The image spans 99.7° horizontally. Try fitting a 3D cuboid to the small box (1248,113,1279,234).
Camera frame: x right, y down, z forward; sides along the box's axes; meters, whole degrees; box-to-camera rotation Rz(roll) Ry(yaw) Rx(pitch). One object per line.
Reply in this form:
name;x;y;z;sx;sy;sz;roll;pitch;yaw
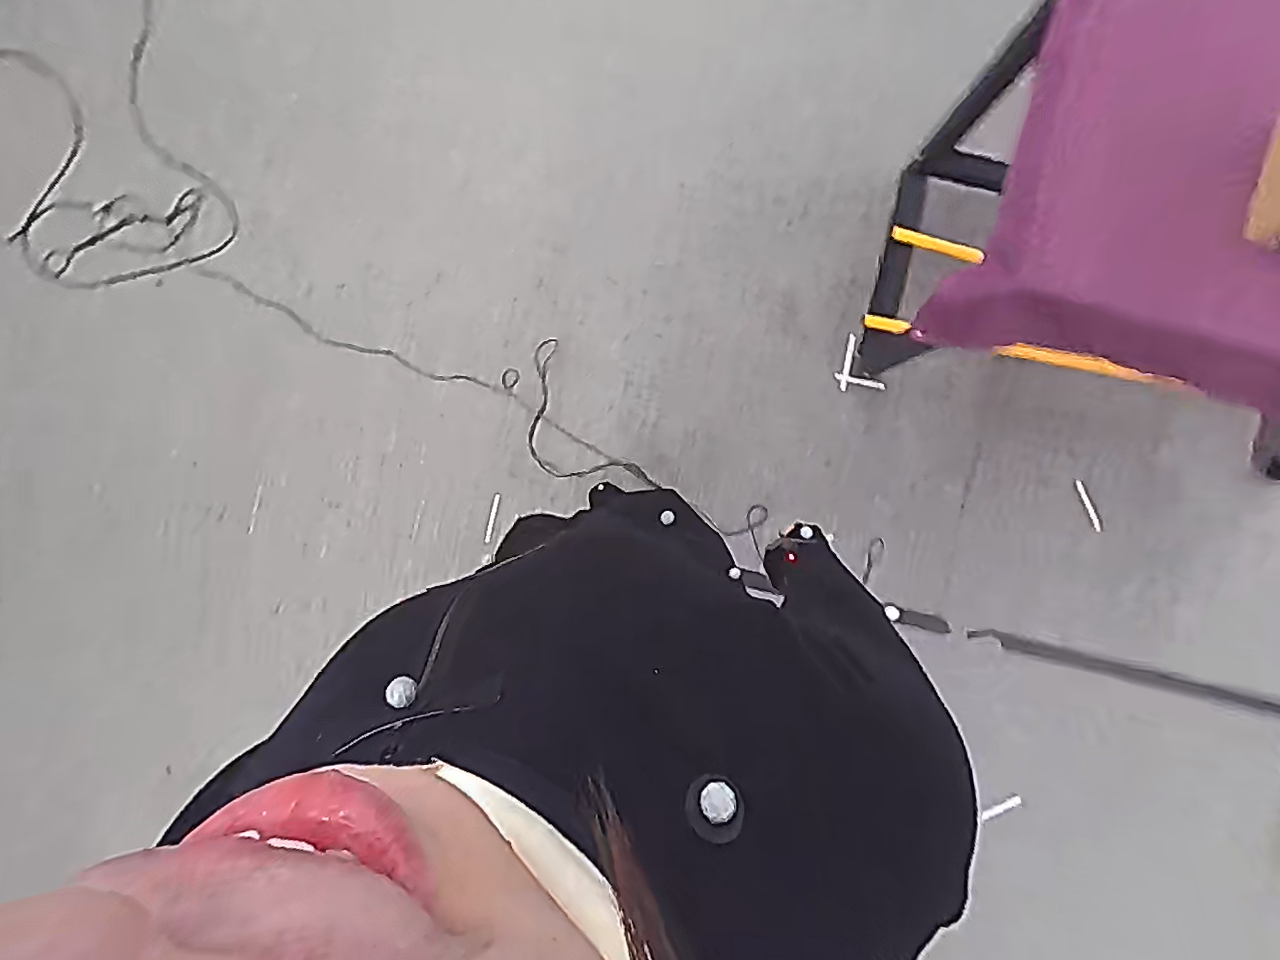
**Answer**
small box;0.924;-0.403;0.660;0.168;0.176;0.179;16;90;1
